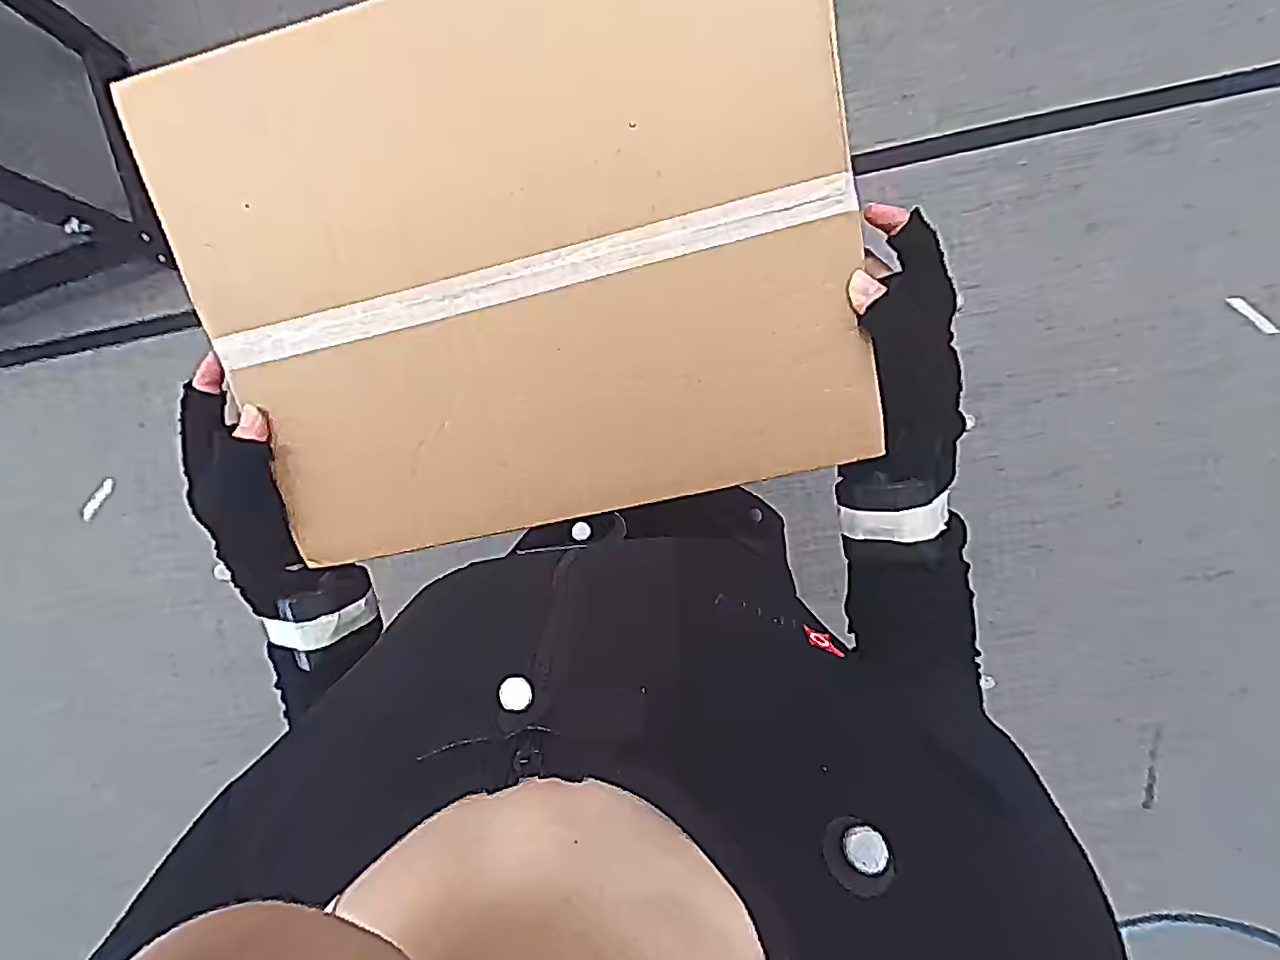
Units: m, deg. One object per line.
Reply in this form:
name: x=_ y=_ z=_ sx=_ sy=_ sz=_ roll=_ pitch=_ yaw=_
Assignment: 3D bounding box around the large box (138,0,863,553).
large box: x=-0.068 y=-0.170 z=0.483 sx=0.408 sy=0.320 sz=0.320 roll=-11 pitch=104 yaw=7
